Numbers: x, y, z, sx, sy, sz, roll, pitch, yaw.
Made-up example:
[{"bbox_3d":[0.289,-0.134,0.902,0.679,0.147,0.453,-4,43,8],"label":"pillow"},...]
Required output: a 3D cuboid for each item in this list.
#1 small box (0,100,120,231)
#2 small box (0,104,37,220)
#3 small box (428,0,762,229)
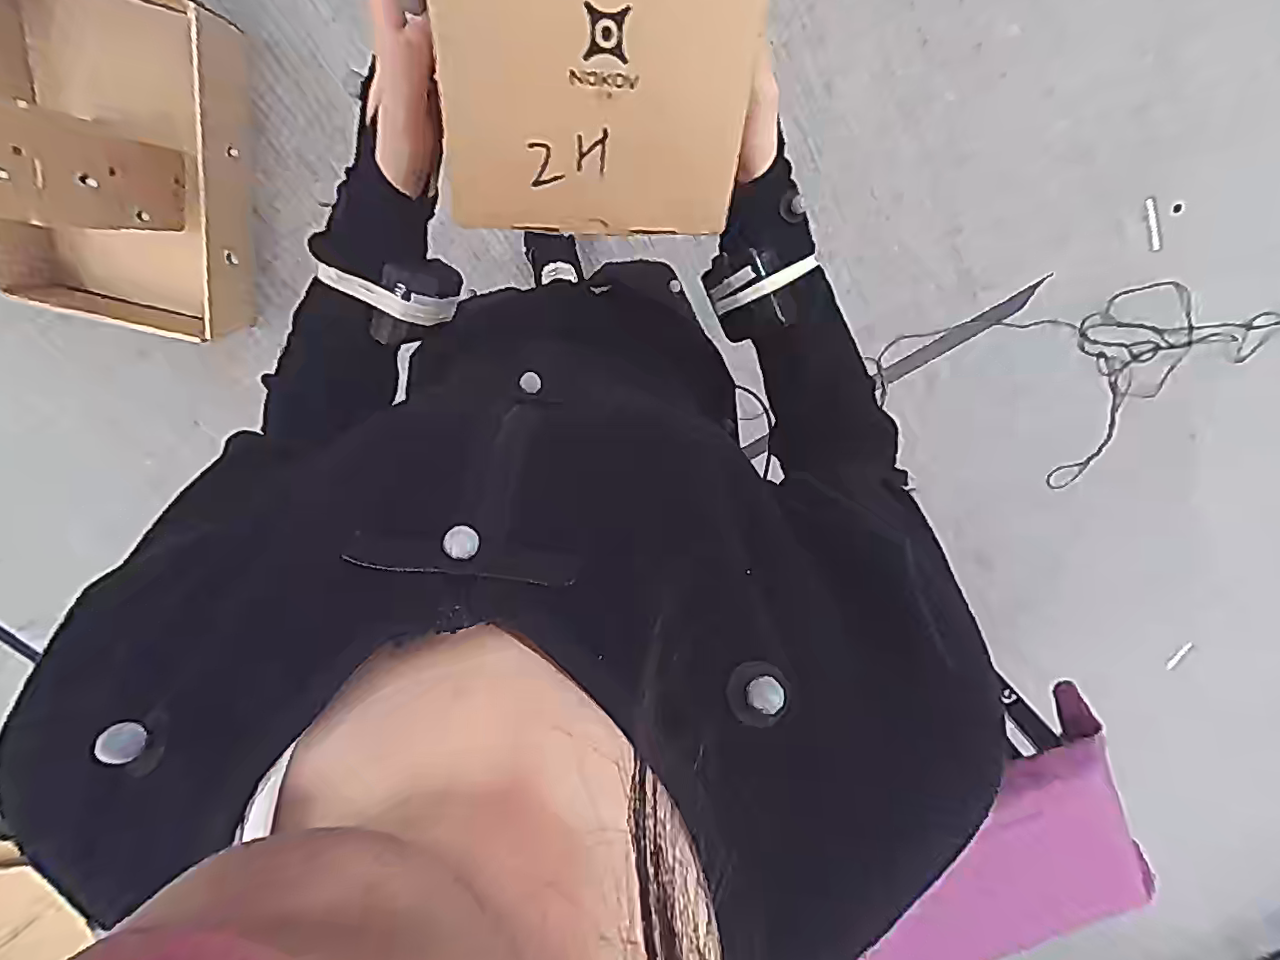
[{"bbox_3d":[-1.043,-0.539,0.922,0.179,0.176,0.168,16,110,-11],"label":"small box"},{"bbox_3d":[-1.037,-0.483,0.768,0.179,0.176,0.168,15,110,-11],"label":"small box"},{"bbox_3d":[-0.037,-0.273,0.329,0.168,0.176,0.179,-3,132,-13],"label":"small box"}]
